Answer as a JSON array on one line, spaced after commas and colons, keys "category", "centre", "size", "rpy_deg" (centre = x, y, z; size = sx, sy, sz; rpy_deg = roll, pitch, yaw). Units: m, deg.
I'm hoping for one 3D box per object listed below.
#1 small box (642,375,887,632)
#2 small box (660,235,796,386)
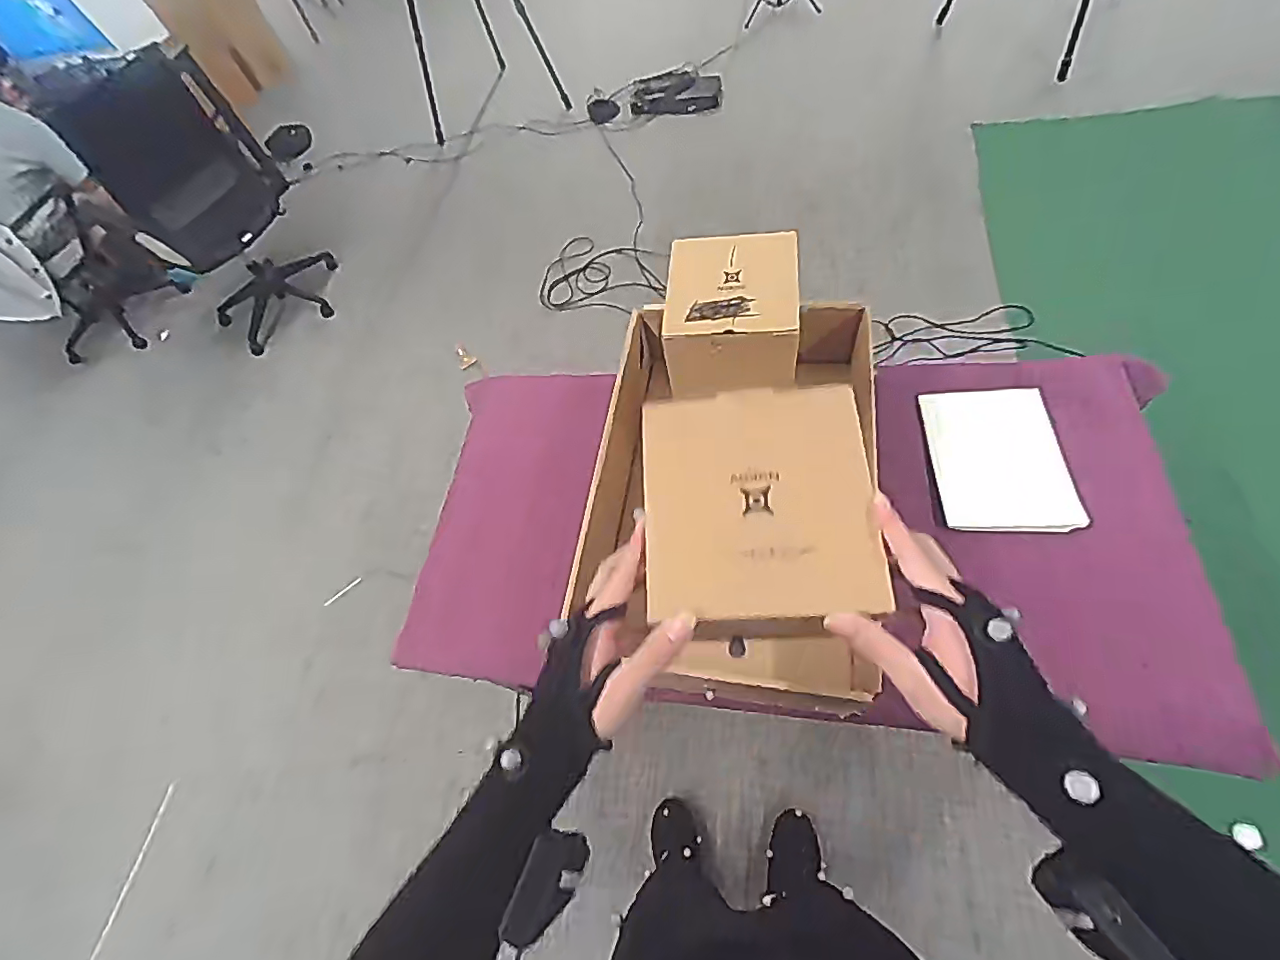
[{"category": "small box", "centre": [0.092, 0.032, 0.469], "size": [0.168, 0.176, 0.179], "rpy_deg": [-4, 69, 7]}, {"category": "small box", "centre": [0.128, -0.208, 0.755], "size": [0.168, 0.176, 0.179], "rpy_deg": [1, 61, 11]}]
